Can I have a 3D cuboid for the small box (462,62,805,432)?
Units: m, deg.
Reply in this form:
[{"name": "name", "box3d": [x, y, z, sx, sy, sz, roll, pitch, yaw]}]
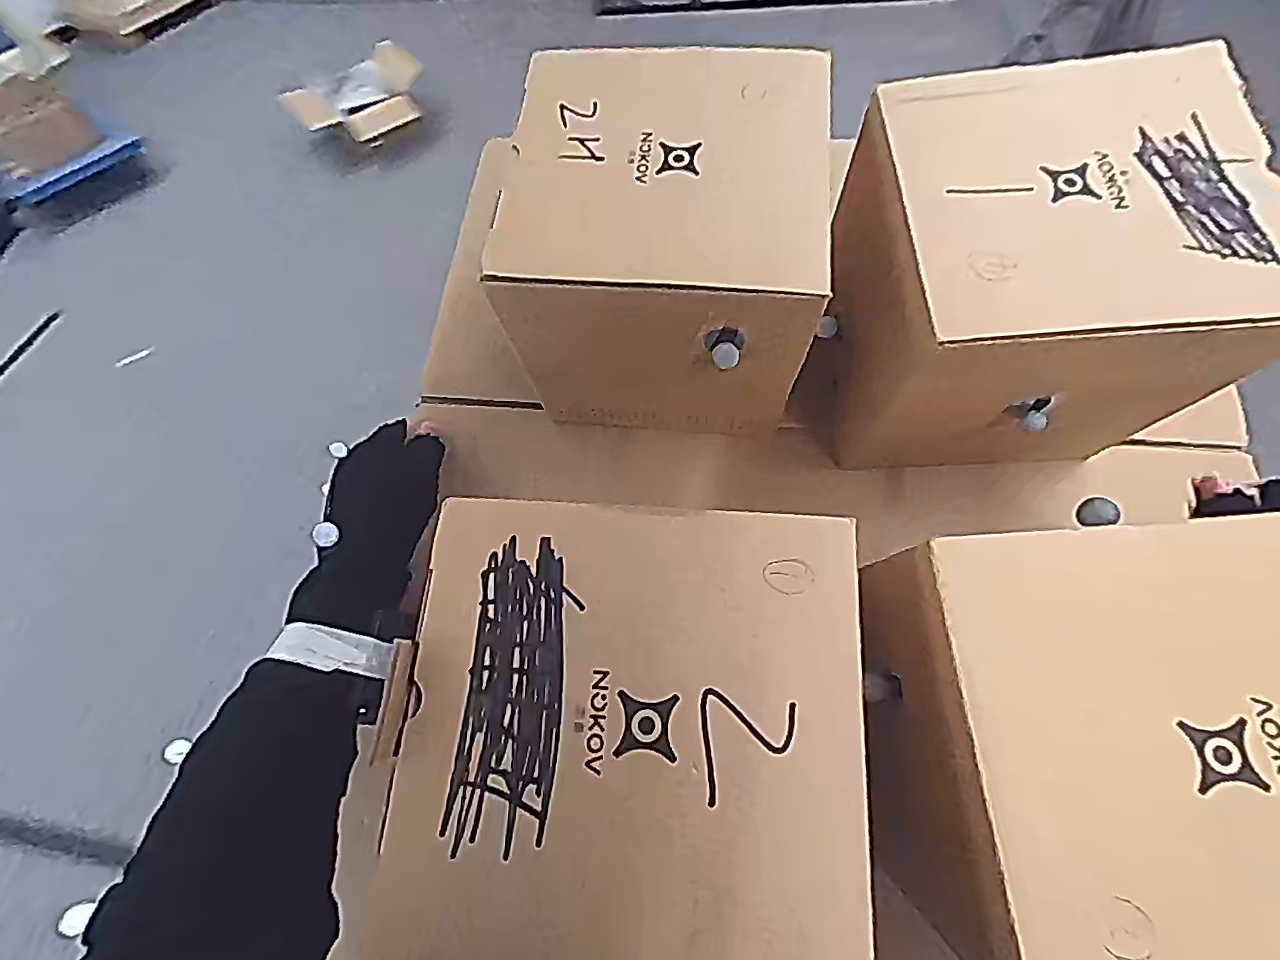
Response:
[{"name": "small box", "box3d": [0.007, -0.142, 0.373, 0.179, 0.176, 0.168, 4, 71, 6]}]
